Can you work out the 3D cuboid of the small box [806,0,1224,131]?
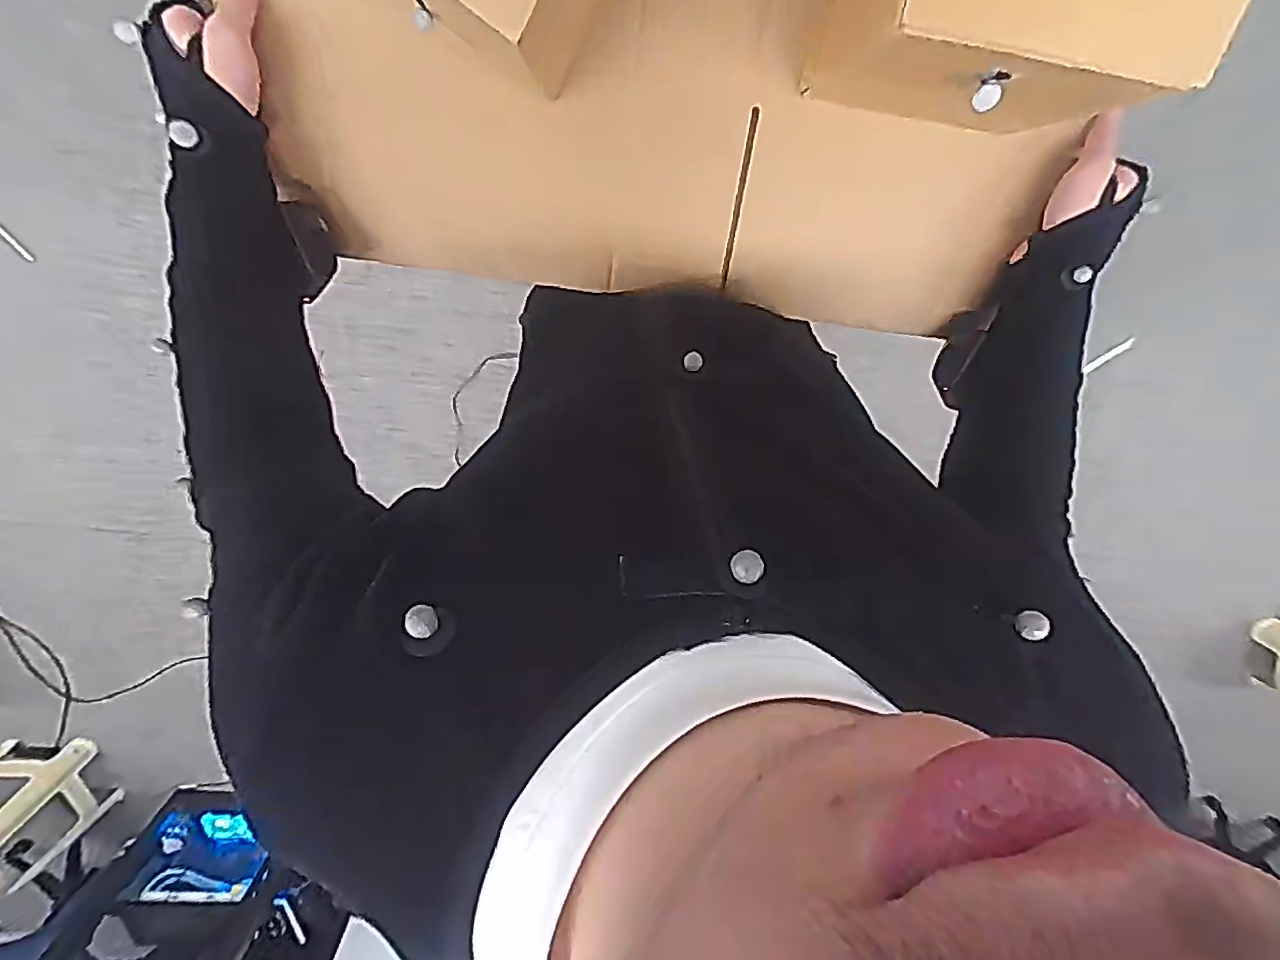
[{"bbox_3d":[0.229,-0.333,0.336,0.179,0.176,0.168,7,115,-5],"label":"small box"}]
